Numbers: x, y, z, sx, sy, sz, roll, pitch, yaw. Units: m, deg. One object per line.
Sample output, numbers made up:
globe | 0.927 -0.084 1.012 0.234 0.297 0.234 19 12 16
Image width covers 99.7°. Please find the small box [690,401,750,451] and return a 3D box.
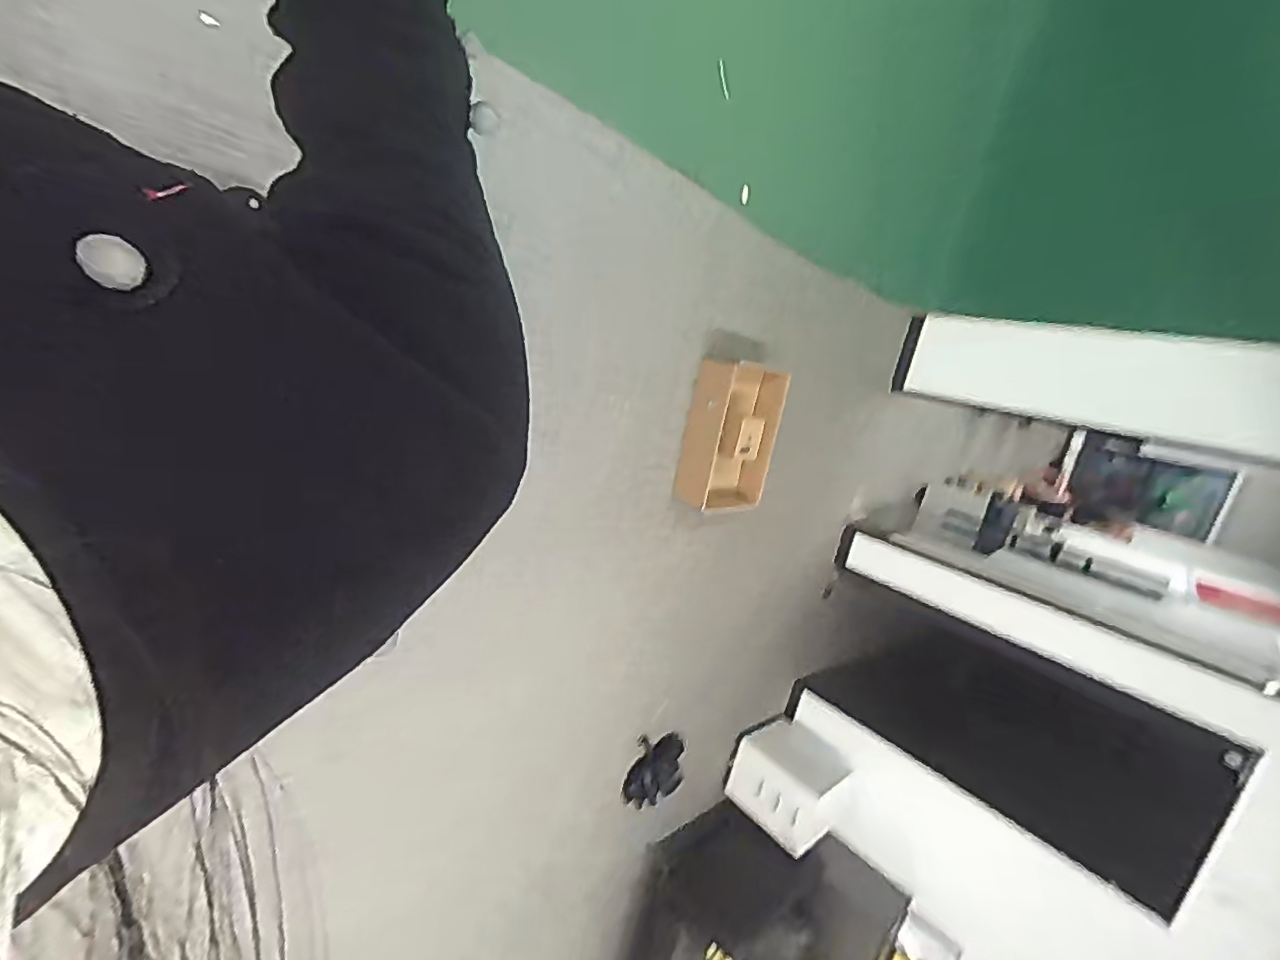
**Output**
small box | 0.334 -0.226 2.273 0.168 0.176 0.179 -2 108 -47
